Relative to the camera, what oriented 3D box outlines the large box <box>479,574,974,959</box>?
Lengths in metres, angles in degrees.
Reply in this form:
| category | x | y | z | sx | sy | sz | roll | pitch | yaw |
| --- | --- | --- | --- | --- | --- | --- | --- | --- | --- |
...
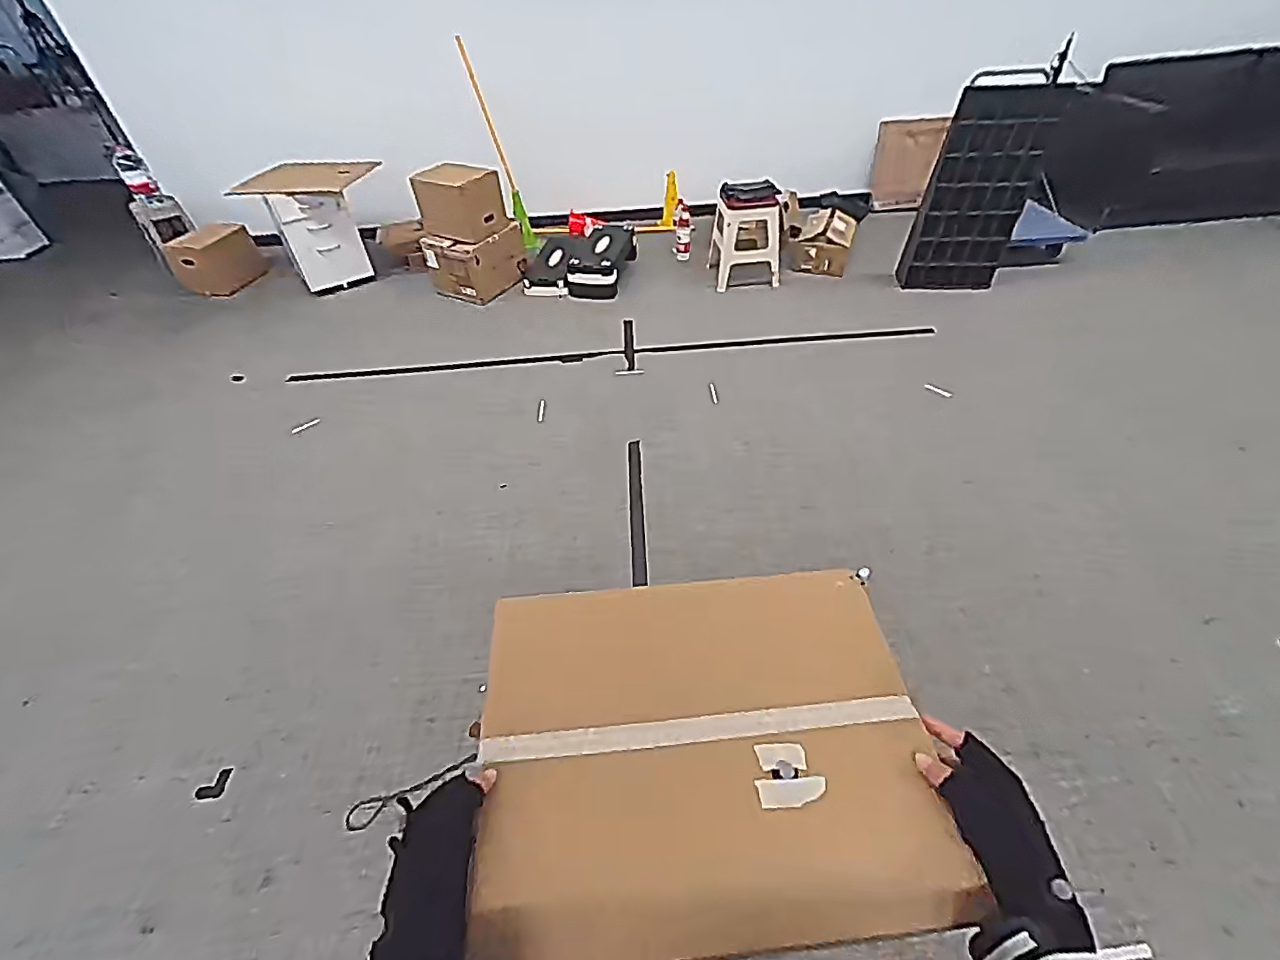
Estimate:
| category | x | y | z | sx | sy | sz | roll | pitch | yaw |
| --- | --- | --- | --- | --- | --- | --- | --- | --- | --- |
| large box | 0.059 | 0.339 | 0.627 | 0.408 | 0.320 | 0.320 | -4 | 49 | -3 |
